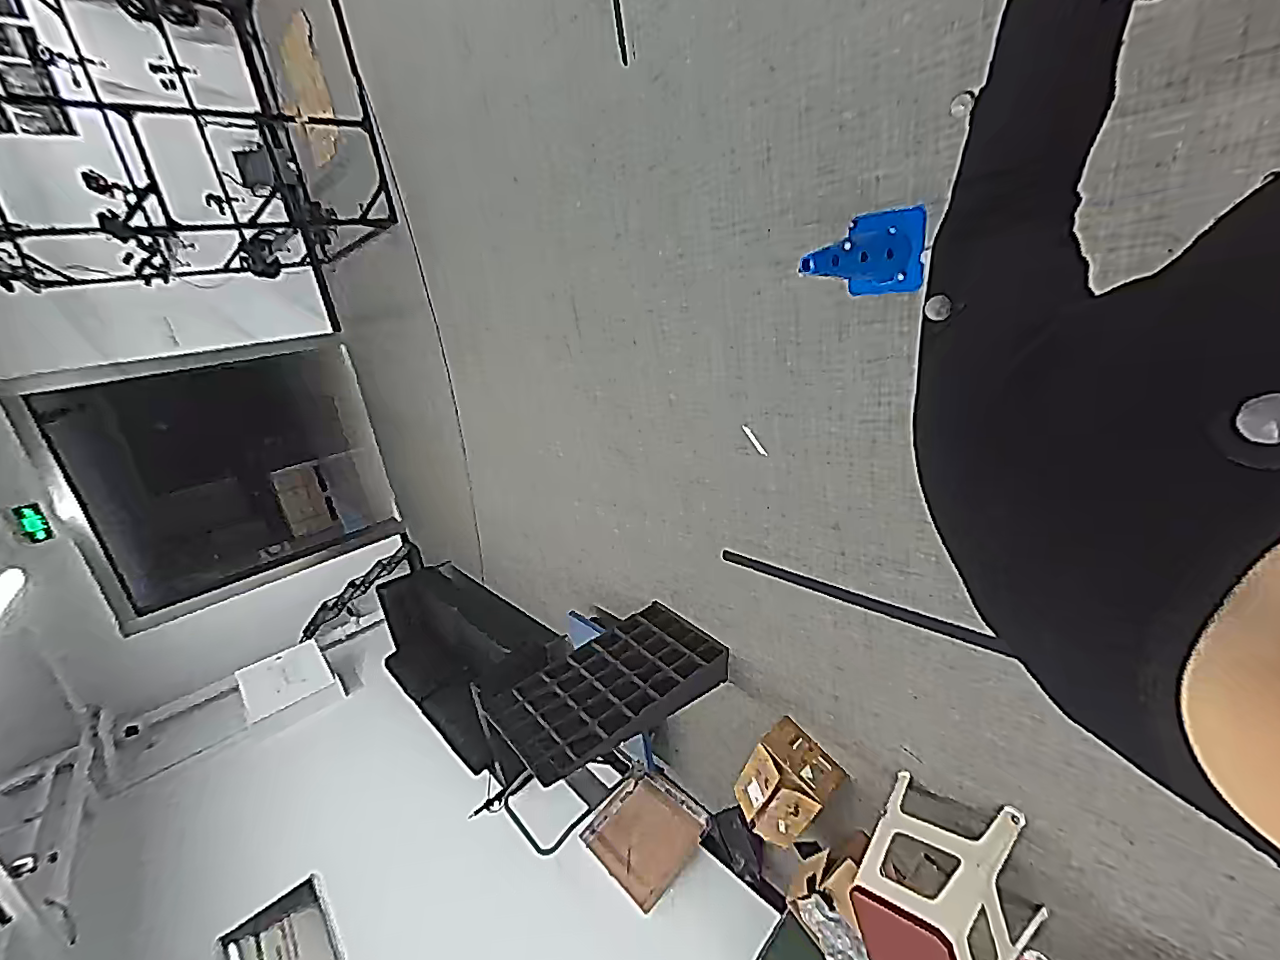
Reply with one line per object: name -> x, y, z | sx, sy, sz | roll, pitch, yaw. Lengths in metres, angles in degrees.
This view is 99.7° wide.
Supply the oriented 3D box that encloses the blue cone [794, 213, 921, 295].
blue cone -> 0.508, -0.535, 1.316 | 0.192, 0.380, 0.193 | 18, 122, 47
